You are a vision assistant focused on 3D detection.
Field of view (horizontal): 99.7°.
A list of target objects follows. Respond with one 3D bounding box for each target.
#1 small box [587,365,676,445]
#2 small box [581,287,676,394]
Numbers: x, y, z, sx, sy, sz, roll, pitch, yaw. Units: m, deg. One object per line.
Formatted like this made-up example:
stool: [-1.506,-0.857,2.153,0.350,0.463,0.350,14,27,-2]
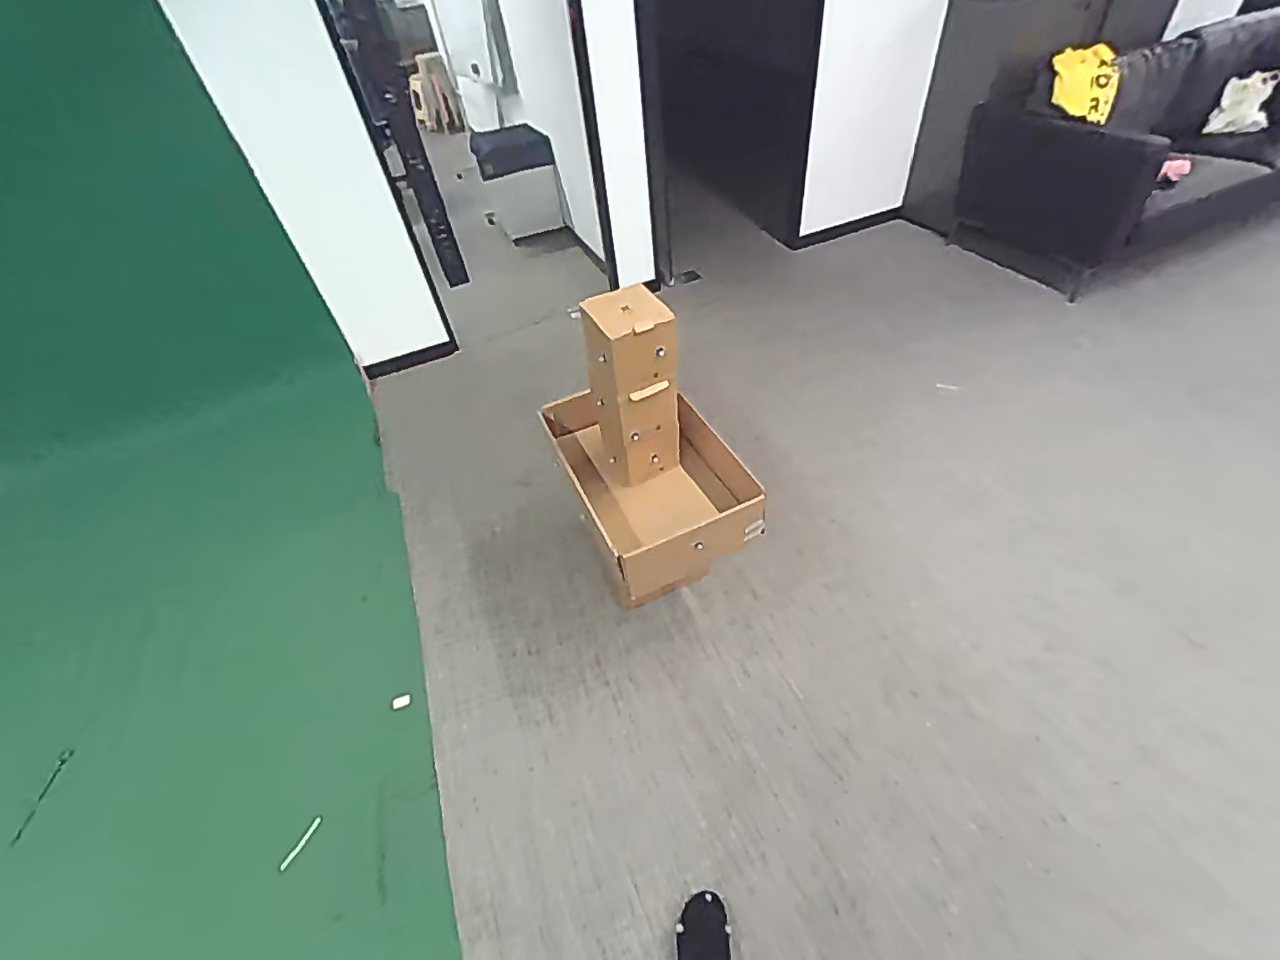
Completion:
small box: [-0.017,-0.213,1.403,0.168,0.176,0.179,-25,51,-16]
small box: [-0.023,-0.323,1.282,0.168,0.176,0.179,-23,51,-15]
